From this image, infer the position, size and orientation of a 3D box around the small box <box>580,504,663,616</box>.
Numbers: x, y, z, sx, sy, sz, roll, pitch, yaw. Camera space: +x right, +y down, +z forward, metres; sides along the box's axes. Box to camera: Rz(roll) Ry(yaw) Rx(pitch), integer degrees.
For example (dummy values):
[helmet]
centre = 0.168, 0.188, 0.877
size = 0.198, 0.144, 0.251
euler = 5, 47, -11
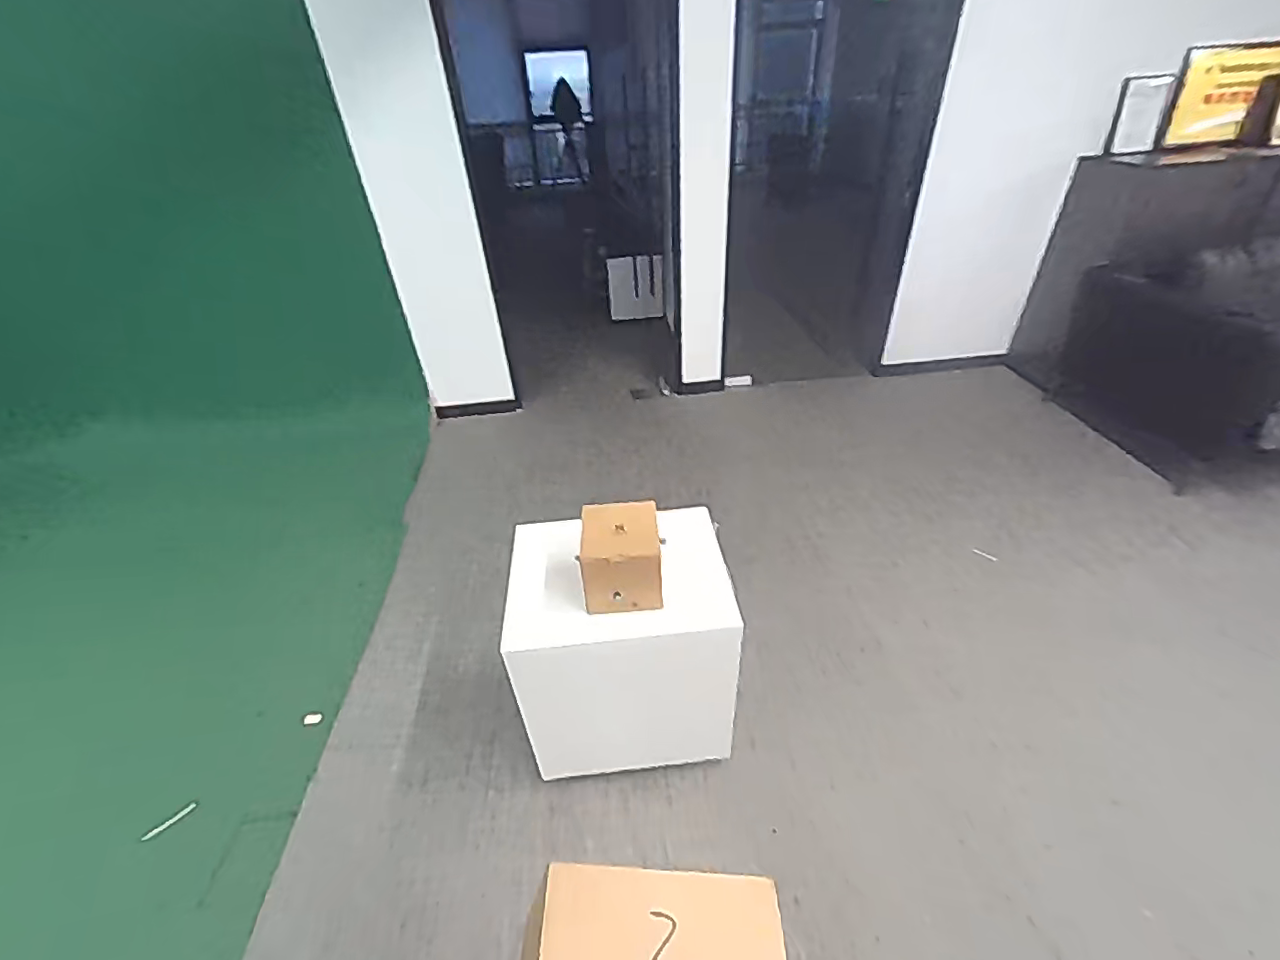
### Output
[small box]
centre = -0.039, 0.174, 1.183
size = 0.168, 0.176, 0.179
euler = -4, 35, -1
